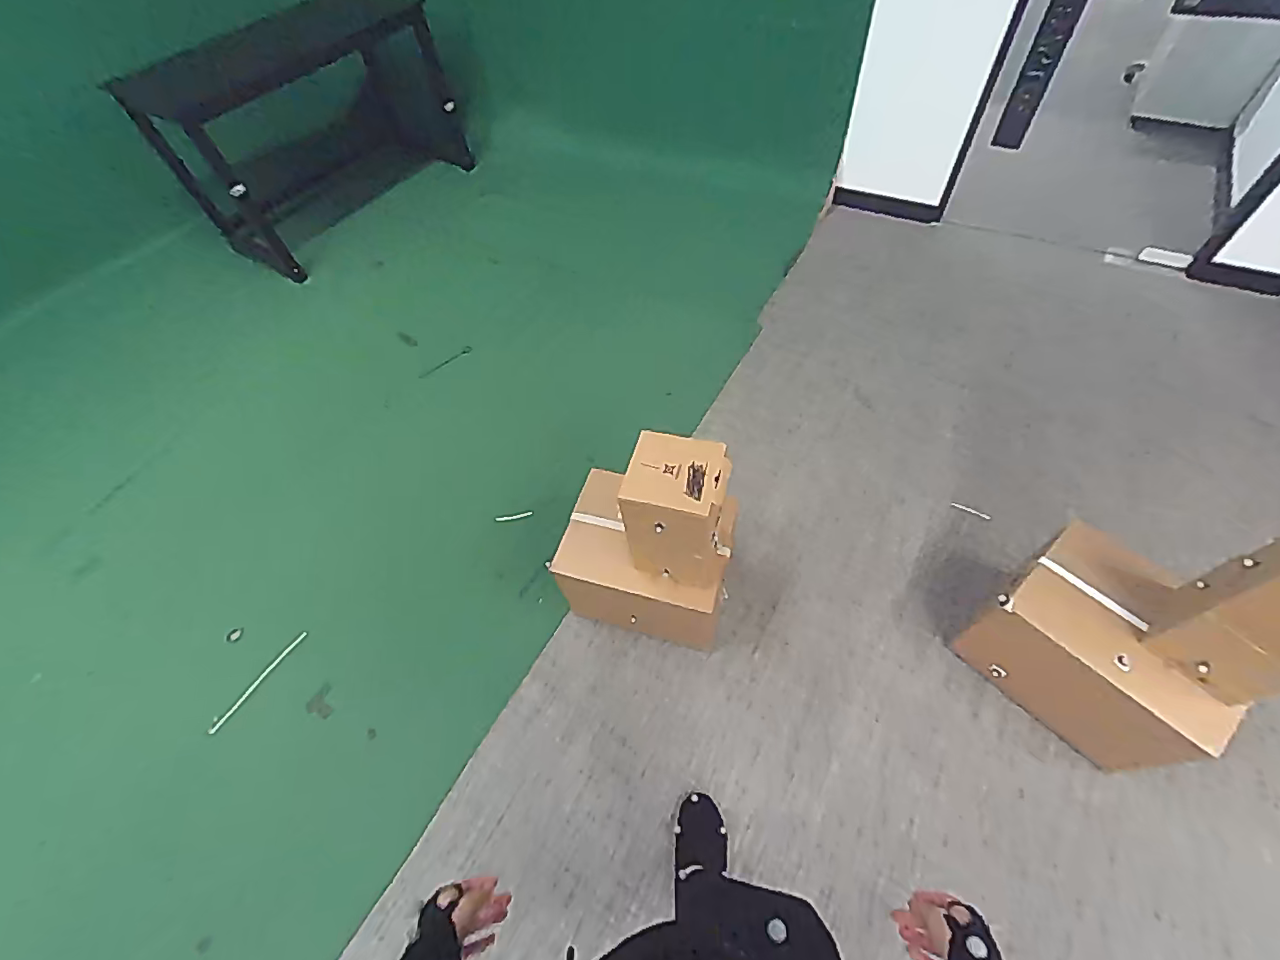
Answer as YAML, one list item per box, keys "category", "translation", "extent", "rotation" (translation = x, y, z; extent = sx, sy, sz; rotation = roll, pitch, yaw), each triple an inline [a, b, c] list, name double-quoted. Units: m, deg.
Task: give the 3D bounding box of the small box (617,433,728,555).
- category: "small box"
  translation: [0.072, 0.032, 1.077]
  extent: [0.179, 0.176, 0.168]
  rotation: [11, 58, 15]

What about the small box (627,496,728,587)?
- category: "small box"
  translation: [0.087, 0.122, 1.214]
  extent: [0.179, 0.176, 0.168]
  rotation: [16, 59, 15]

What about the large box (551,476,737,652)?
- category: "large box"
  translation: [0.032, 0.227, 1.446]
  extent: [0.408, 0.320, 0.320]
  rotation: [11, 57, 14]

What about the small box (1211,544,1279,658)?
- category: "small box"
  translation: [1.107, 0.195, 0.868]
  extent: [0.168, 0.176, 0.179]
  rotation: [-35, 59, -19]

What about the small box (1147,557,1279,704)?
- category: "small box"
  translation: [1.112, 0.282, 1.005]
  extent: [0.179, 0.176, 0.168]
  rotation: [-36, 60, -19]
